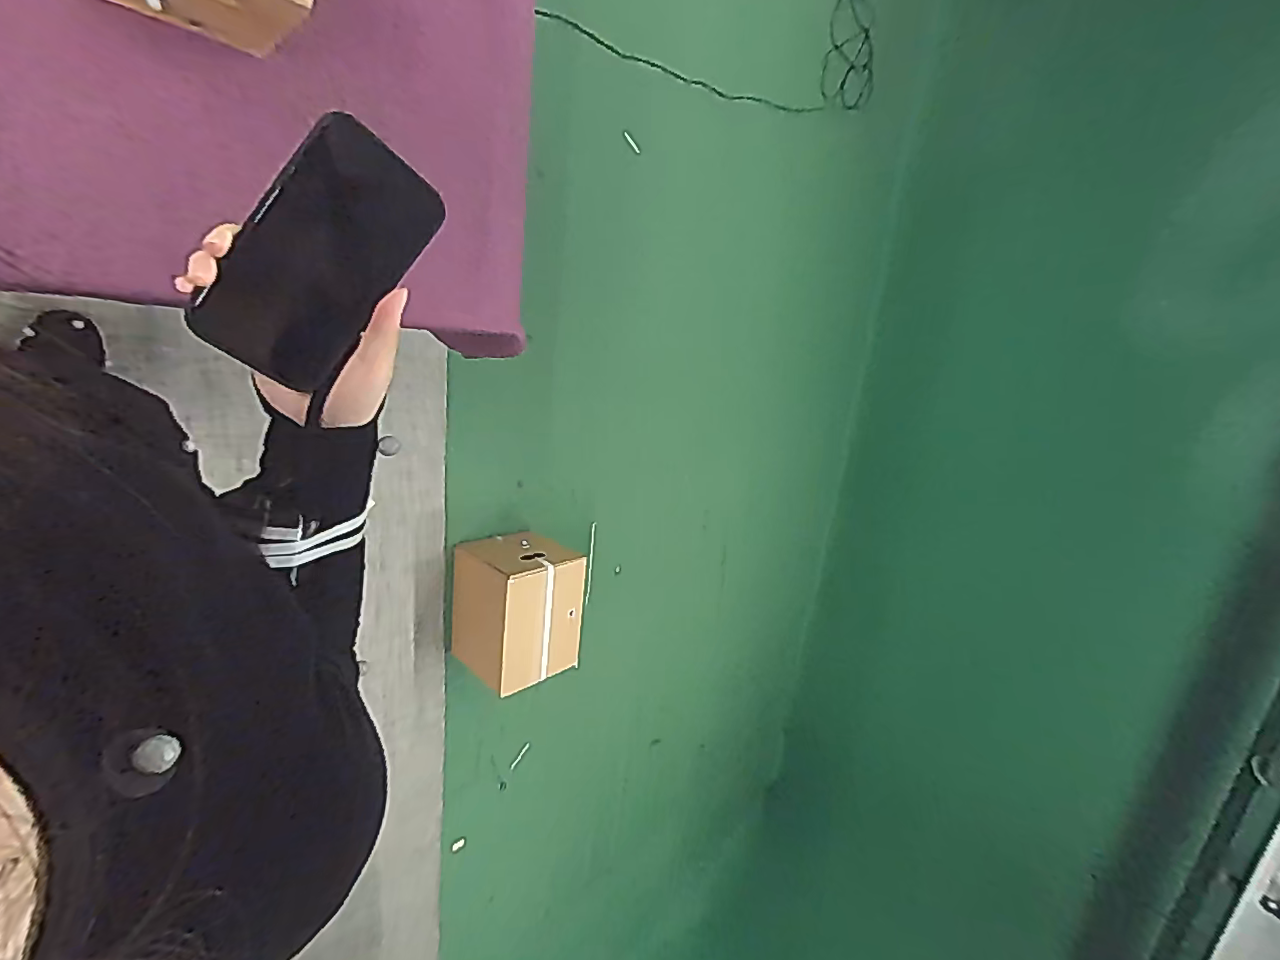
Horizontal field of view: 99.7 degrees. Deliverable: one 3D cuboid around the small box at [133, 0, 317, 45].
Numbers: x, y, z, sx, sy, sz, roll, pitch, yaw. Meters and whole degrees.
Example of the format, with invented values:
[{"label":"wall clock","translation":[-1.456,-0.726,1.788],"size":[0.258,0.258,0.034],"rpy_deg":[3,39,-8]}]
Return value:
[{"label":"small box","translation":[-0.391,-0.515,0.450],"size":[0.168,0.176,0.179],"rpy_deg":[-11,113,-46]}]
